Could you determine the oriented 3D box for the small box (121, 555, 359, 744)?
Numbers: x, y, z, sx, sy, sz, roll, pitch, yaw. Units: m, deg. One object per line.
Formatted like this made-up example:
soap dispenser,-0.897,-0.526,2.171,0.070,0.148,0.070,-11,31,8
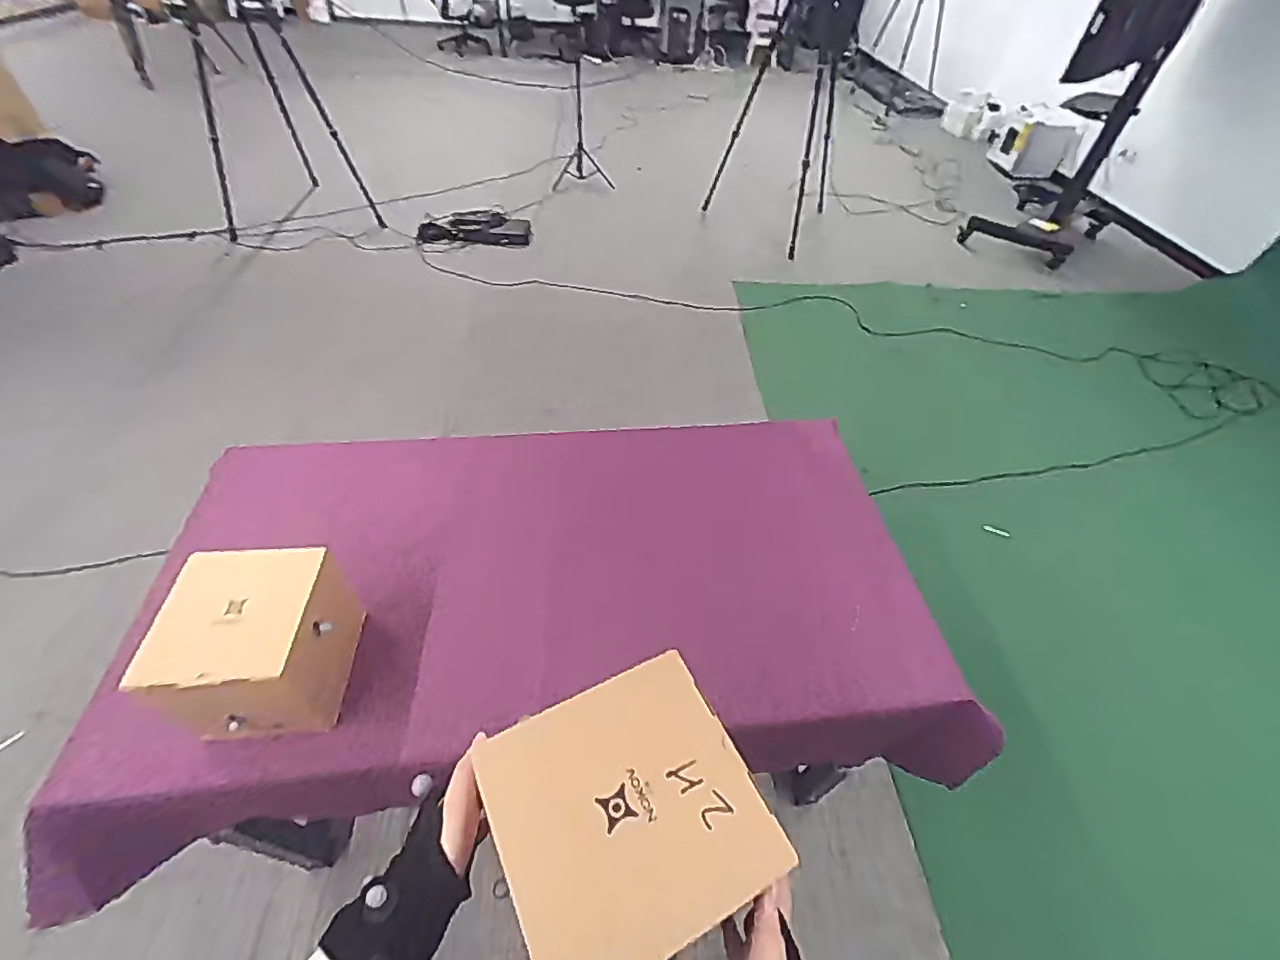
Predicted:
small box,-0.484,0.217,0.694,0.168,0.176,0.179,-2,49,-6
